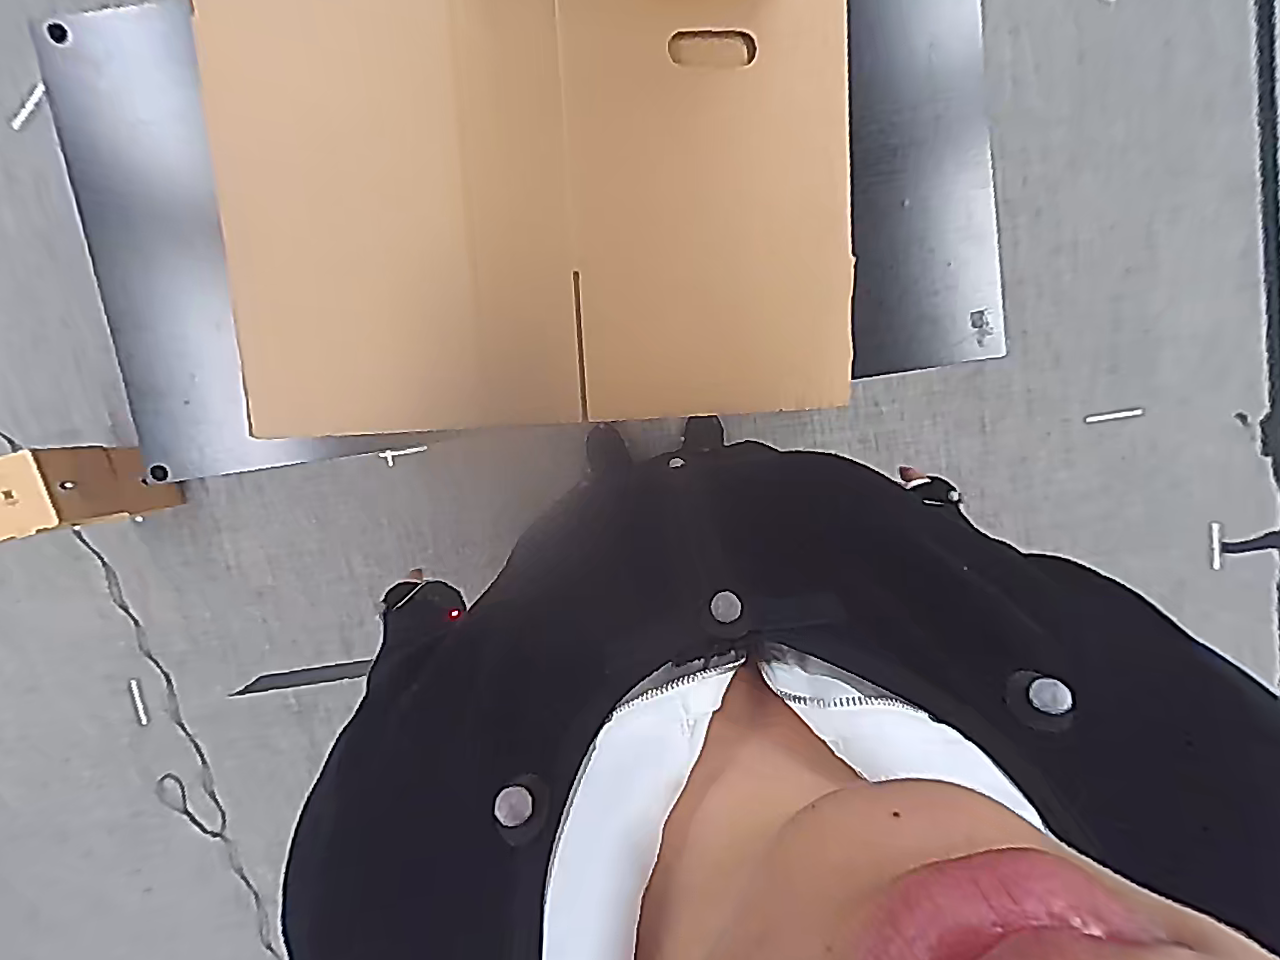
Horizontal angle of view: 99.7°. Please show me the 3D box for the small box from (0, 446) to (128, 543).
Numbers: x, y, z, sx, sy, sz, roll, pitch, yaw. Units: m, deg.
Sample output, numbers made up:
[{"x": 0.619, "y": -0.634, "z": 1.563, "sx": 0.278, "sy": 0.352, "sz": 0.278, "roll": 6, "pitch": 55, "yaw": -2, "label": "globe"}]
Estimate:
[{"x": -1.354, "y": 0.028, "z": 1.250, "sx": 0.168, "sy": 0.176, "sz": 0.179, "roll": -15, "pitch": 96, "yaw": 1, "label": "small box"}]

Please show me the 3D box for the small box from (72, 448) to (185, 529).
[{"x": -1.353, "y": 0.014, "z": 1.413, "sx": 0.168, "sy": 0.176, "sz": 0.179, "roll": -13, "pitch": 97, "yaw": 1, "label": "small box"}]
